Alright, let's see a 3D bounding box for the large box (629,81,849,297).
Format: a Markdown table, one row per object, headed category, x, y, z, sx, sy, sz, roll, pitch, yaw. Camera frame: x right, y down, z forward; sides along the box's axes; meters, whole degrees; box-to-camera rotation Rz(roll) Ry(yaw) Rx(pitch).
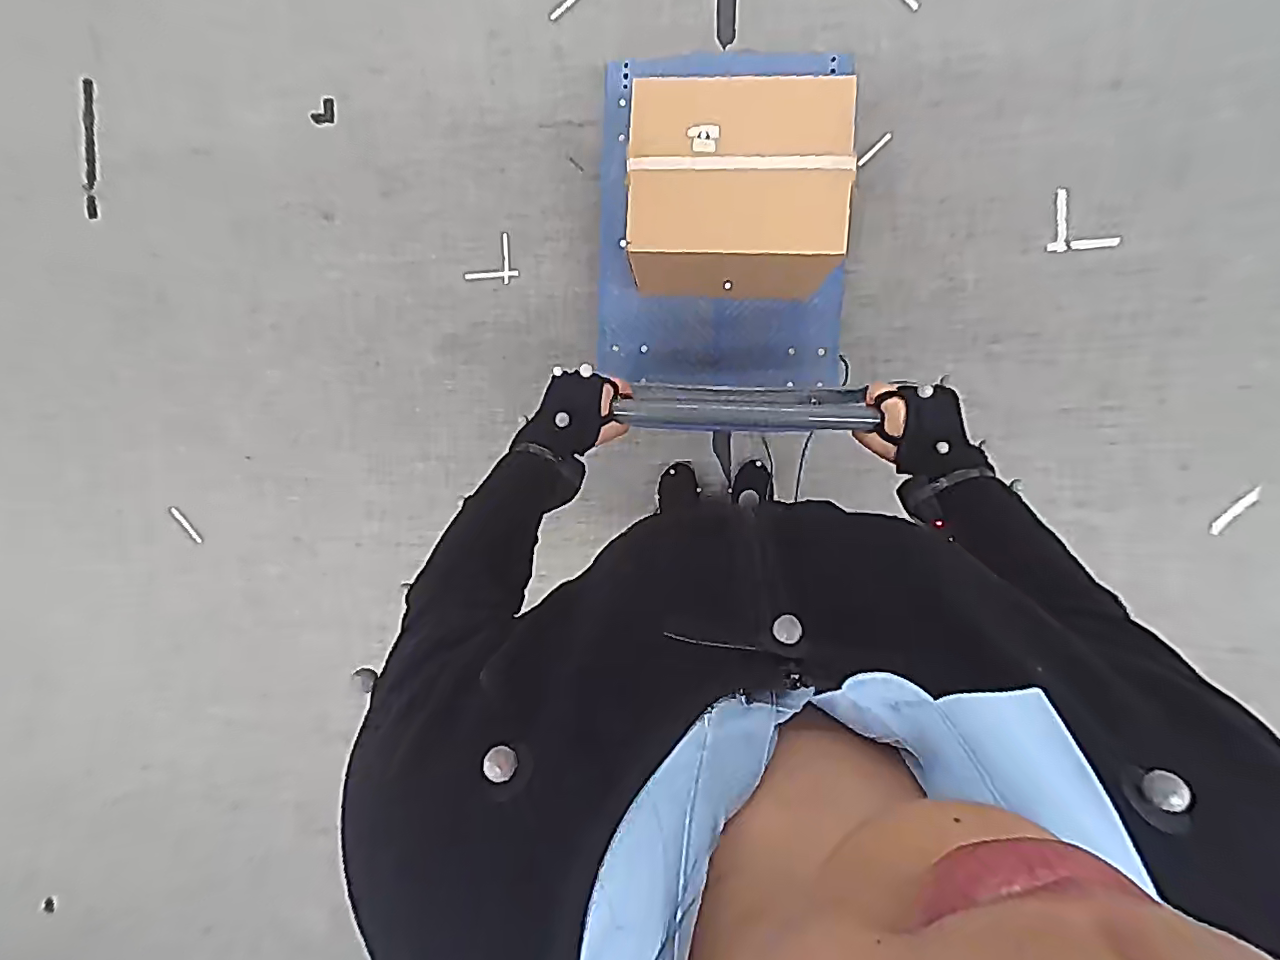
| category | x | y | z | sx | sy | sz | roll | pitch | yaw |
| --- | --- | --- | --- | --- | --- | --- | --- | --- | --- |
| large box | 0.197 | -0.586 | 1.156 | 0.408 | 0.320 | 0.320 | 2 | 93 | 6 |
